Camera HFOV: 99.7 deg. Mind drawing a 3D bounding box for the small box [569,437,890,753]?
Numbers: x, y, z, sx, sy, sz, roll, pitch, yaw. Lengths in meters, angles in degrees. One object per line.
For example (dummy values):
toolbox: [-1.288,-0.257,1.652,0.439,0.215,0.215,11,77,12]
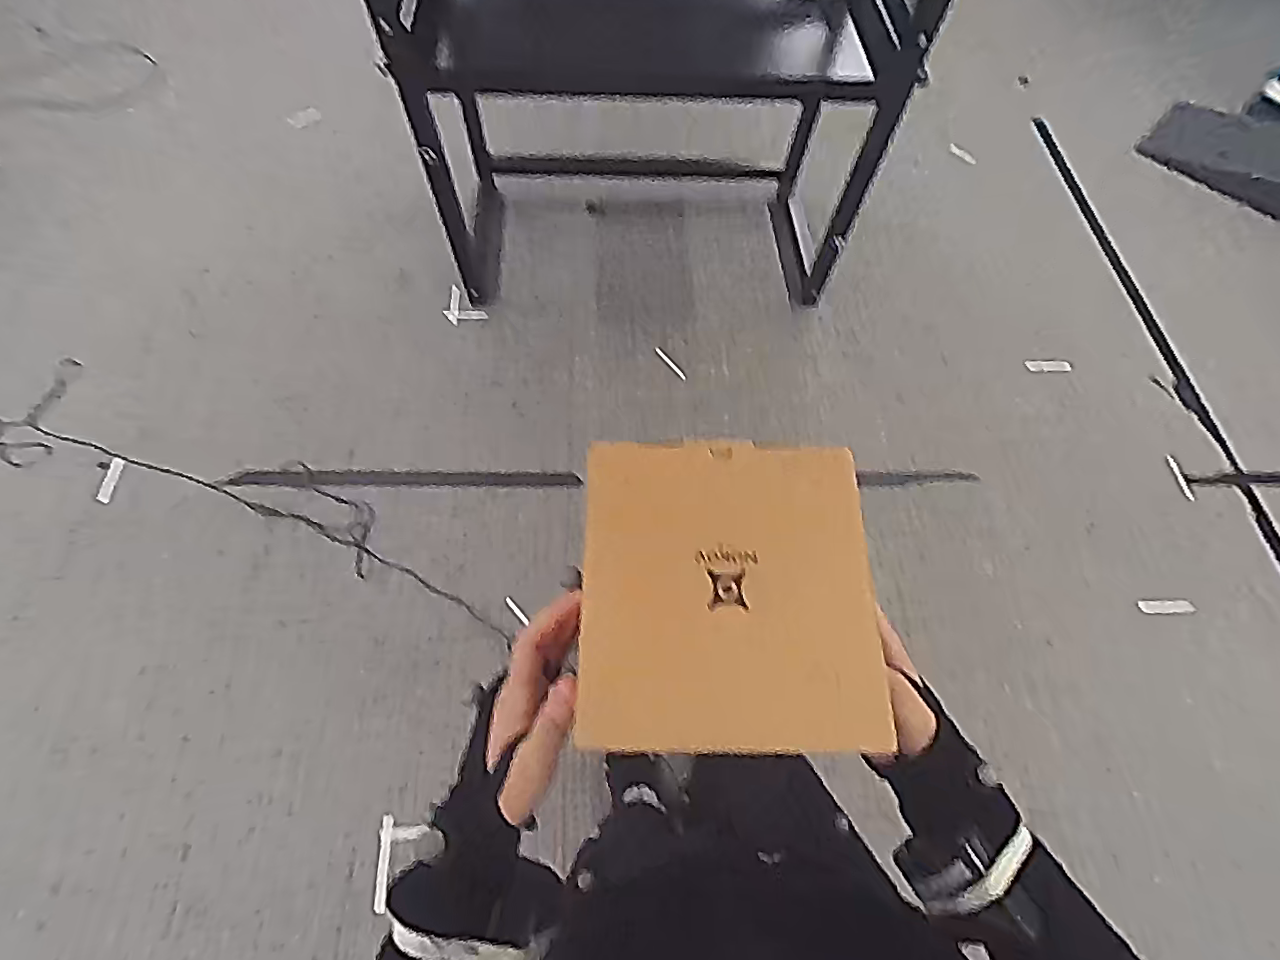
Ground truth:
small box: [0.046,0.086,0.377,0.168,0.176,0.179,1,66,-1]
